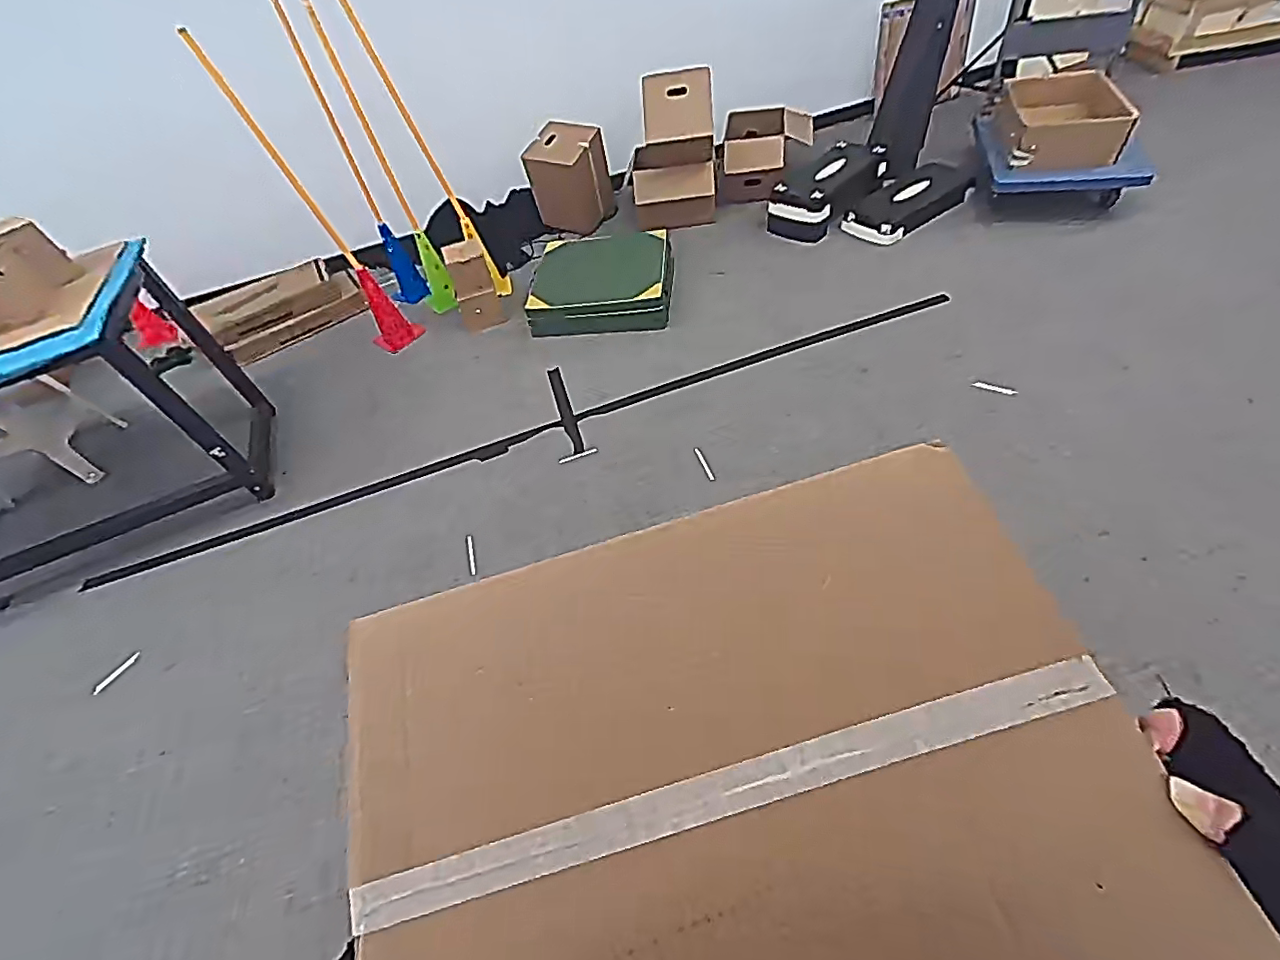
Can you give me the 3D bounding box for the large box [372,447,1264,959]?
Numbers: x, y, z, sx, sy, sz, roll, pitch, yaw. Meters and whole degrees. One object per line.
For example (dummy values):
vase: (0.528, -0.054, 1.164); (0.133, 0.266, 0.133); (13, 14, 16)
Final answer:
large box: (0.066, 0.234, 0.424); (0.408, 0.320, 0.320); (-18, 61, 0)
